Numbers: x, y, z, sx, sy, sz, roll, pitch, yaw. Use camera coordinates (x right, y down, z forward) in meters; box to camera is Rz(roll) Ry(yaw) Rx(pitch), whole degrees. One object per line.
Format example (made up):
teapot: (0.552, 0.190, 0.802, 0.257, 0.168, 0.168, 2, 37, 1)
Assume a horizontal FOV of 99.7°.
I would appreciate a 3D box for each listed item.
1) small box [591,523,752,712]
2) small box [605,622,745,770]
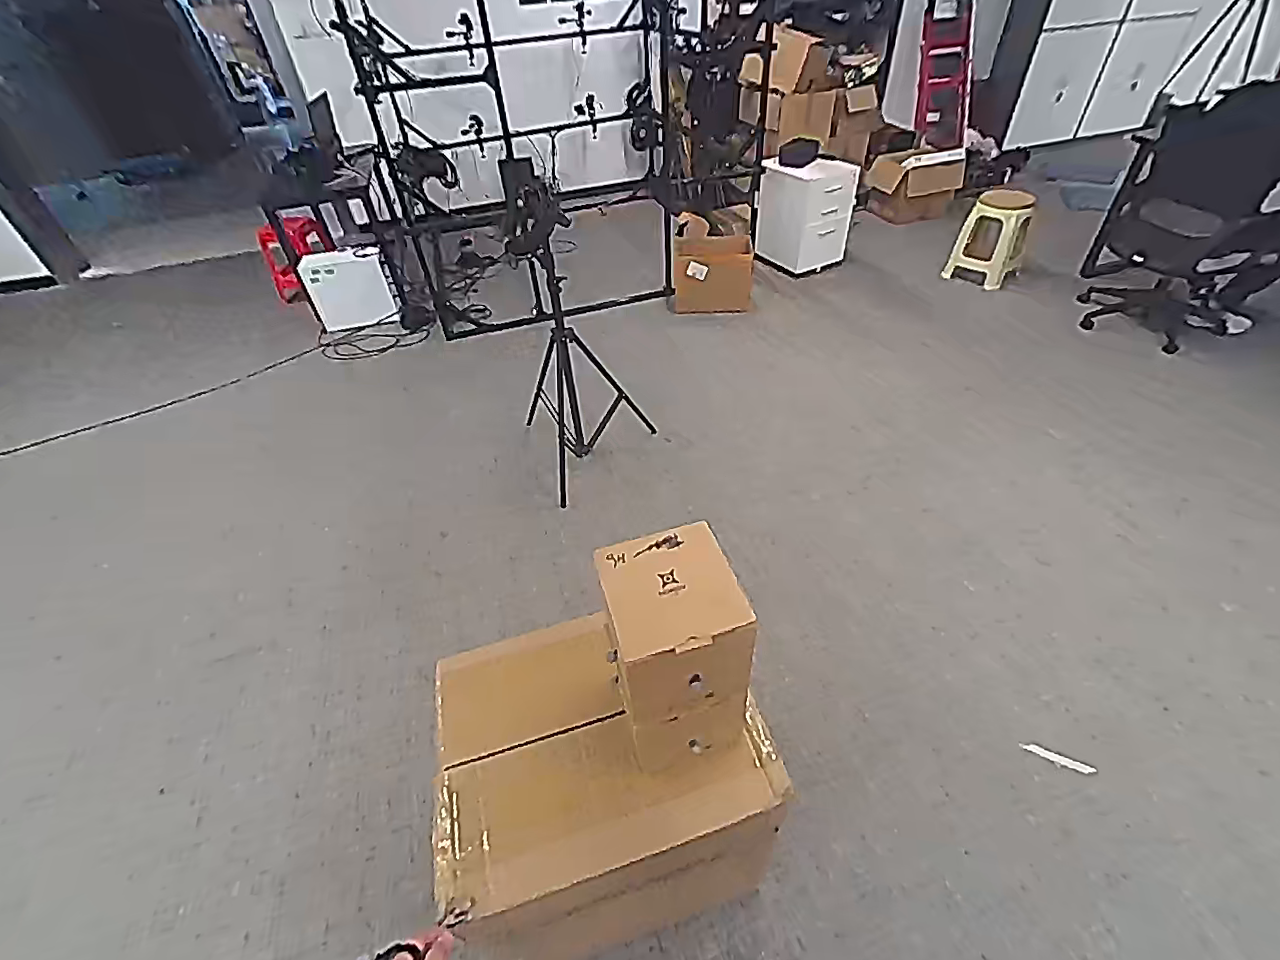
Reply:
small box: (0.041, 0.193, 0.739, 0.168, 0.176, 0.179, -14, 44, -9)
small box: (0.050, 0.316, 0.848, 0.168, 0.176, 0.179, -15, 44, -10)
